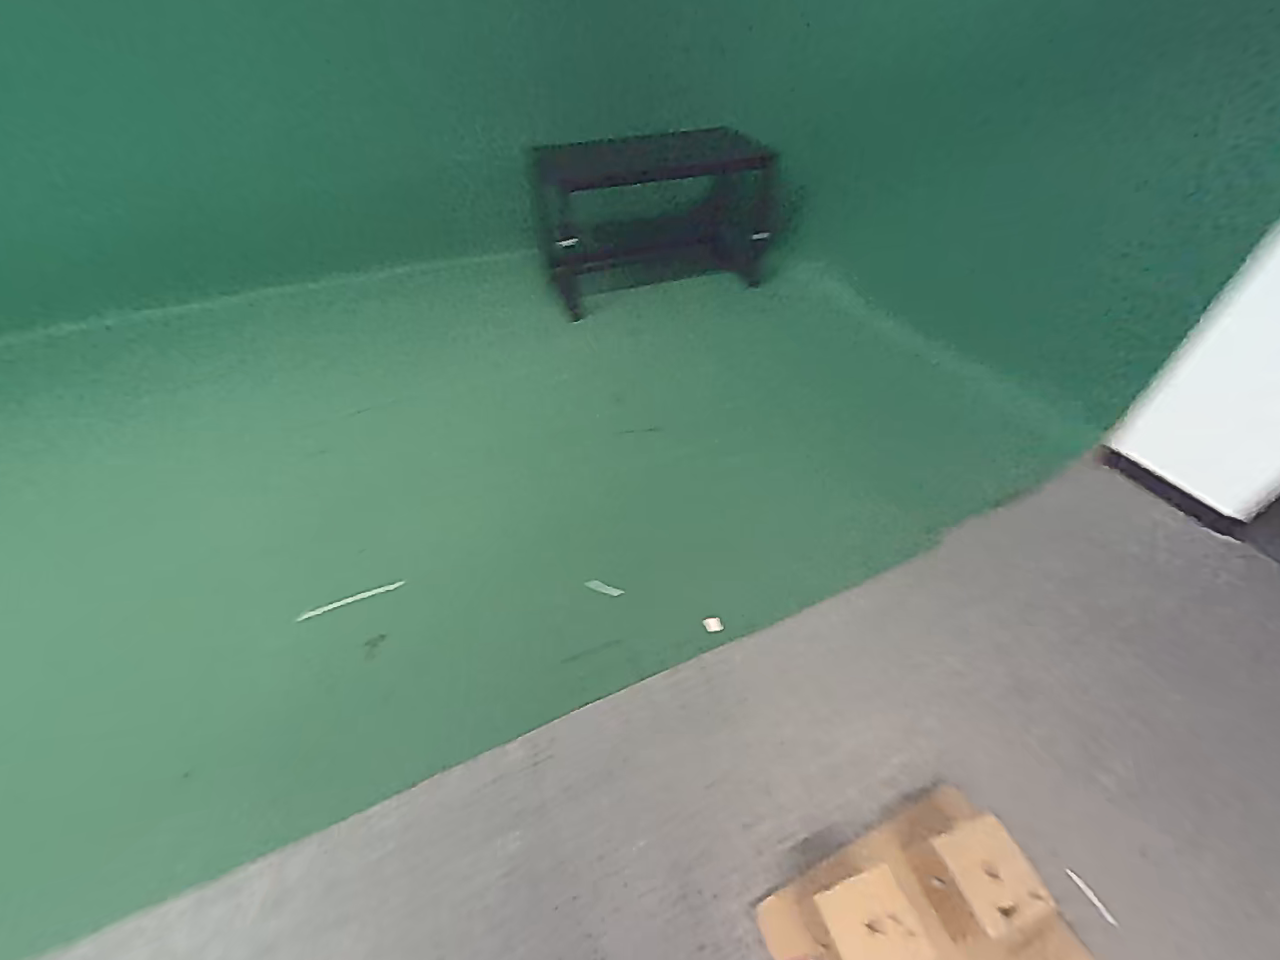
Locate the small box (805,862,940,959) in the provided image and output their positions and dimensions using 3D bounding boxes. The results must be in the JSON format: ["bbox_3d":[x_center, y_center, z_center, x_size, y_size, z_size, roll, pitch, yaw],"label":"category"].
[{"bbox_3d":[0.455,0.915,1.096,0.179,0.176,0.168,-14,48,-14],"label":"small box"}]

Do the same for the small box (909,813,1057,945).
[{"bbox_3d":[0.718,0.854,1.158,0.168,0.176,0.179,-13,47,-13],"label":"small box"}]
